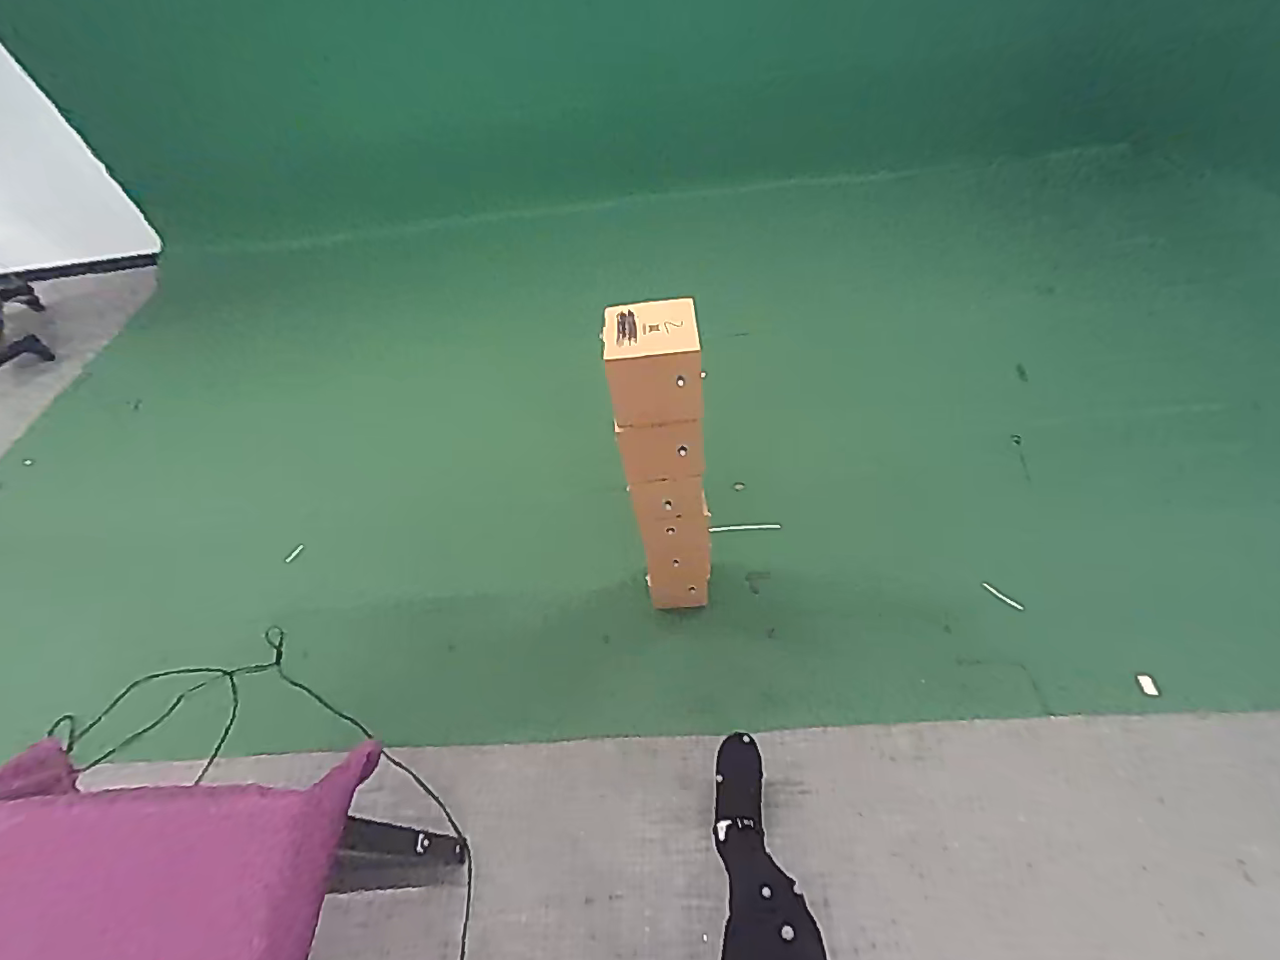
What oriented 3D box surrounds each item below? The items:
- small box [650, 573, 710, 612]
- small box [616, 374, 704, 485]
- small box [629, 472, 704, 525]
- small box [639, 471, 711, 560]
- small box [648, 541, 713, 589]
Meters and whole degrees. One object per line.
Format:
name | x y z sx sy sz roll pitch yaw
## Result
small box | 0.125 0.302 1.687 0.179 0.176 0.168 -5 52 5
small box | 0.047 -0.107 1.184 0.179 0.176 0.168 -7 50 4
small box | 0.063 -0.004 1.310 0.168 0.176 0.179 -7 52 3
small box | 0.090 0.097 1.436 0.179 0.176 0.168 -8 52 2
small box | 0.113 0.199 1.562 0.179 0.176 0.168 -8 51 3
